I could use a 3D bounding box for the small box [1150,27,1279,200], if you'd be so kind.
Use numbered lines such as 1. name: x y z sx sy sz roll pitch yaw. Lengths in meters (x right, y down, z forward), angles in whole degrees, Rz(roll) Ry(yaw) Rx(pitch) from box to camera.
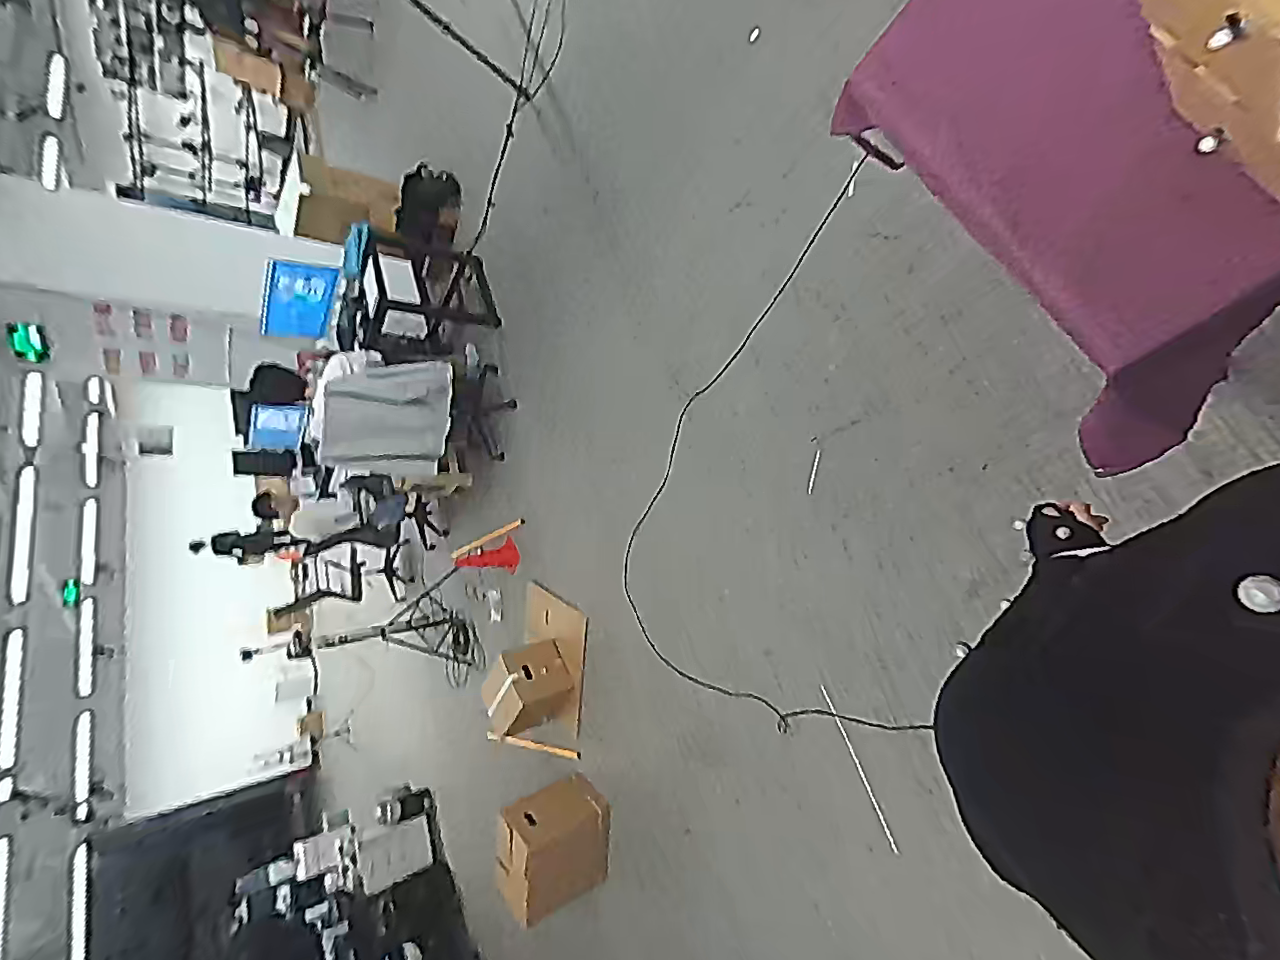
1. small box: 0.582 -0.373 0.442 0.179 0.176 0.168 -42 60 44

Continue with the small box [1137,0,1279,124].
1. small box: 0.451 -0.376 0.344 0.168 0.176 0.179 -41 62 43
